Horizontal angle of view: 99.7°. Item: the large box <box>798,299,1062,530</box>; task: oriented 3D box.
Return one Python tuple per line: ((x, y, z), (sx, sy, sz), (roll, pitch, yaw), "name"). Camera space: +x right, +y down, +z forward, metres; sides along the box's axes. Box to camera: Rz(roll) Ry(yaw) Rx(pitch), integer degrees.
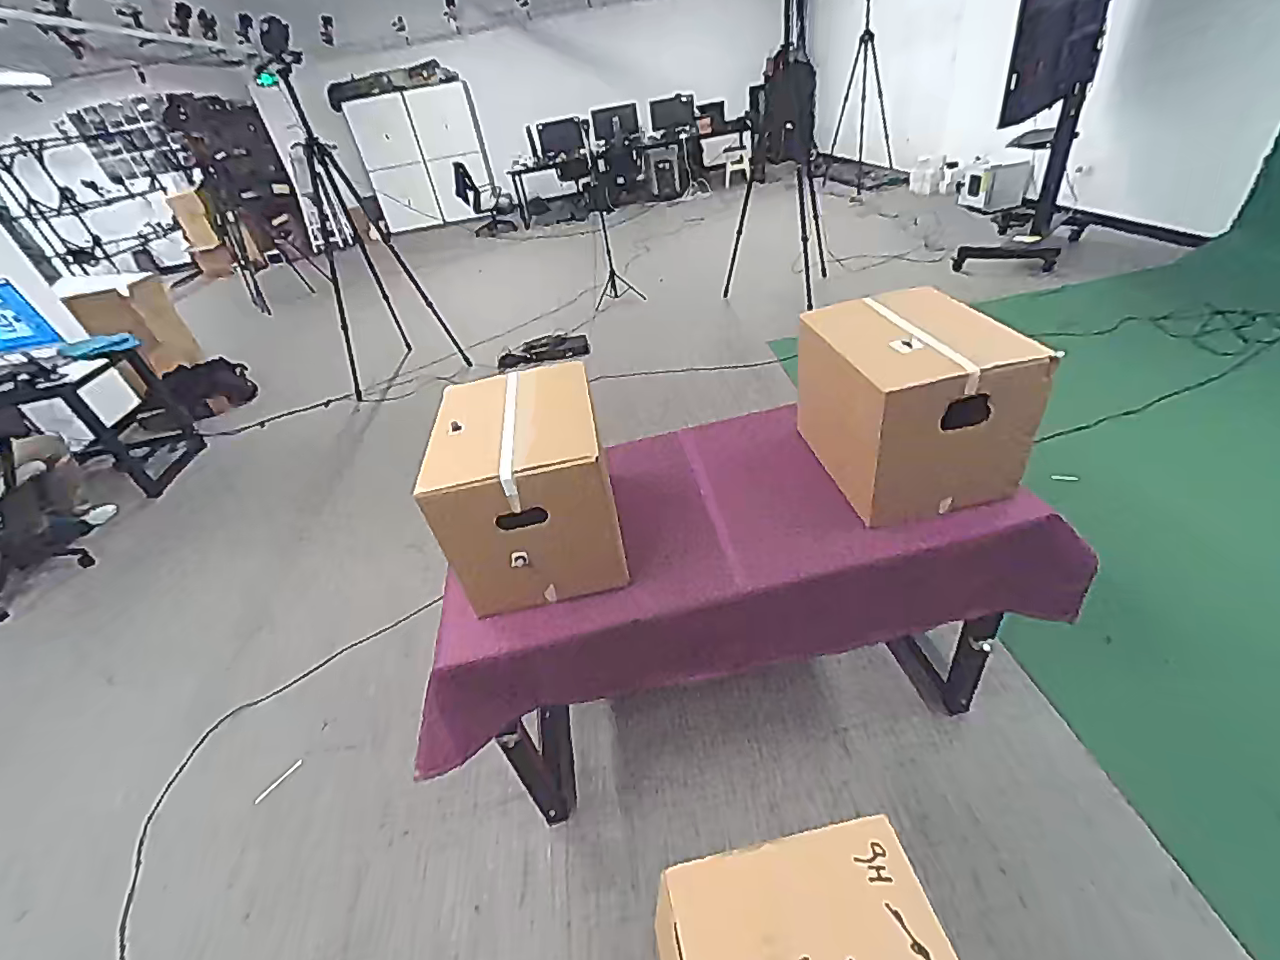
((0.566, -0.155, 1.166), (0.320, 0.320, 0.408), (-11, 37, -1), "large box")
